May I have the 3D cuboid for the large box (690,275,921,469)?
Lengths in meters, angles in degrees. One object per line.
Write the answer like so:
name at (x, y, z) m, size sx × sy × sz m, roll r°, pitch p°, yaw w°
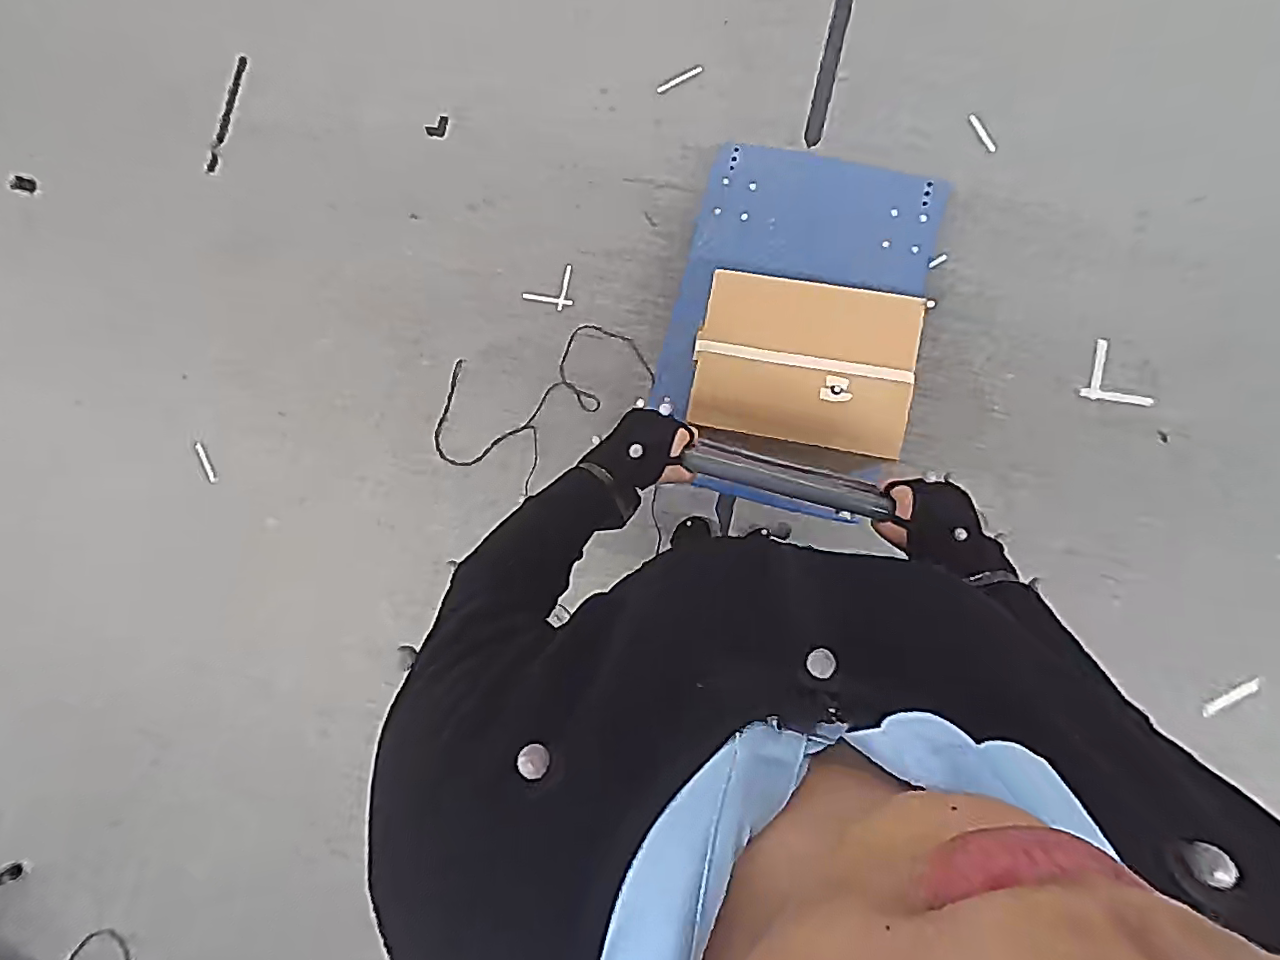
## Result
large box at (0.330, -0.216, 1.192) m, size 0.408 × 0.320 × 0.320 m, roll 11°, pitch 89°, yaw 6°
